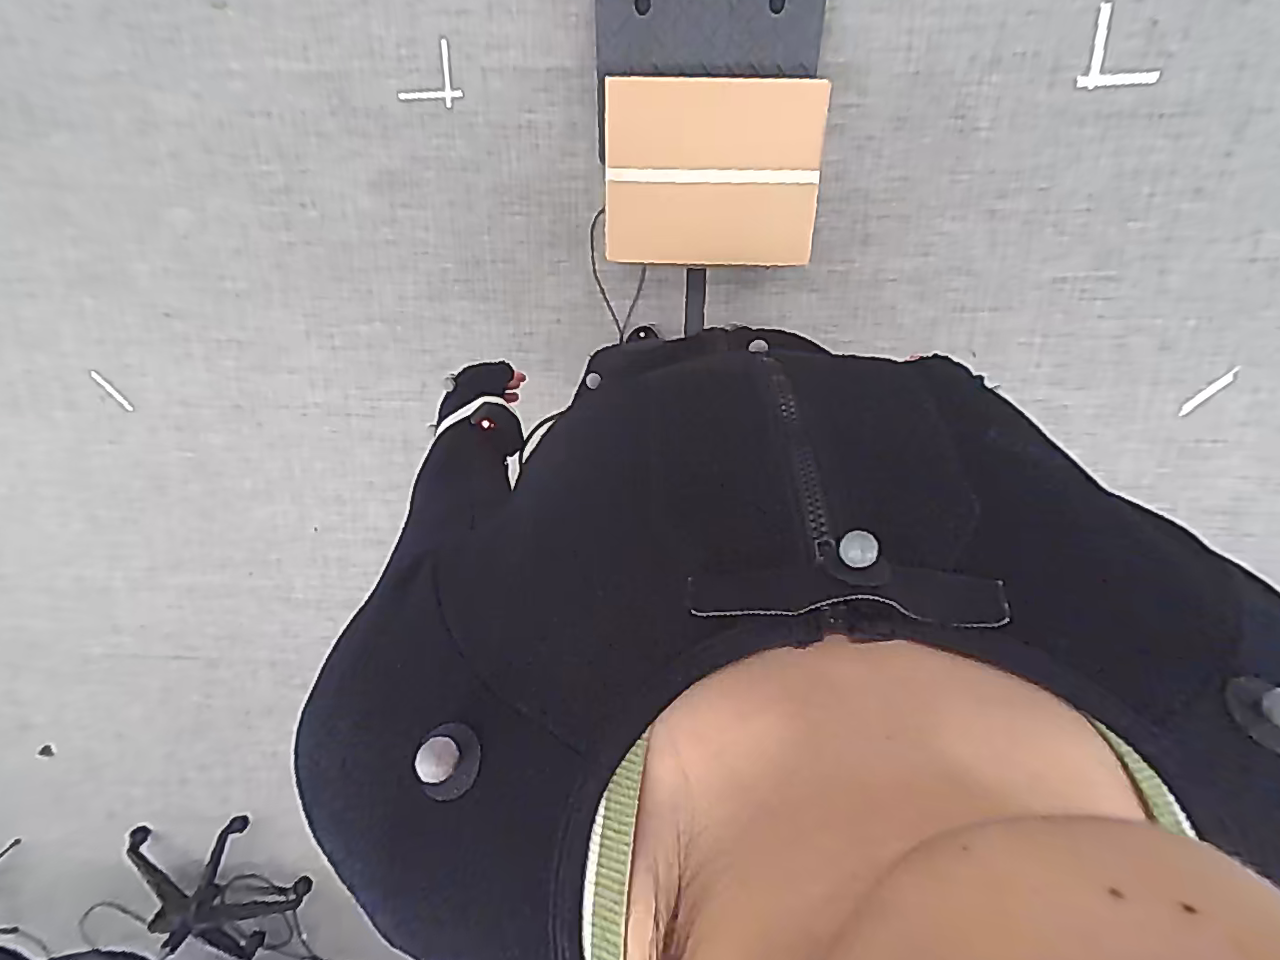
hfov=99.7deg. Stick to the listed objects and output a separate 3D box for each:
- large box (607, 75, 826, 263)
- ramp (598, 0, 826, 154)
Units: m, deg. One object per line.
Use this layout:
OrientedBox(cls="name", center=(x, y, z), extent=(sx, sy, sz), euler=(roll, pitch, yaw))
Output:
OrientedBox(cls="large box", center=(0.146, -0.638, 1.167), extent=(0.408, 0.320, 0.320), euler=(2, 110, 2))
OrientedBox(cls="ramp", center=(0.154, -1.218, 1.061), extent=(0.509, 0.206, 0.991), euler=(-1, 107, 2))
